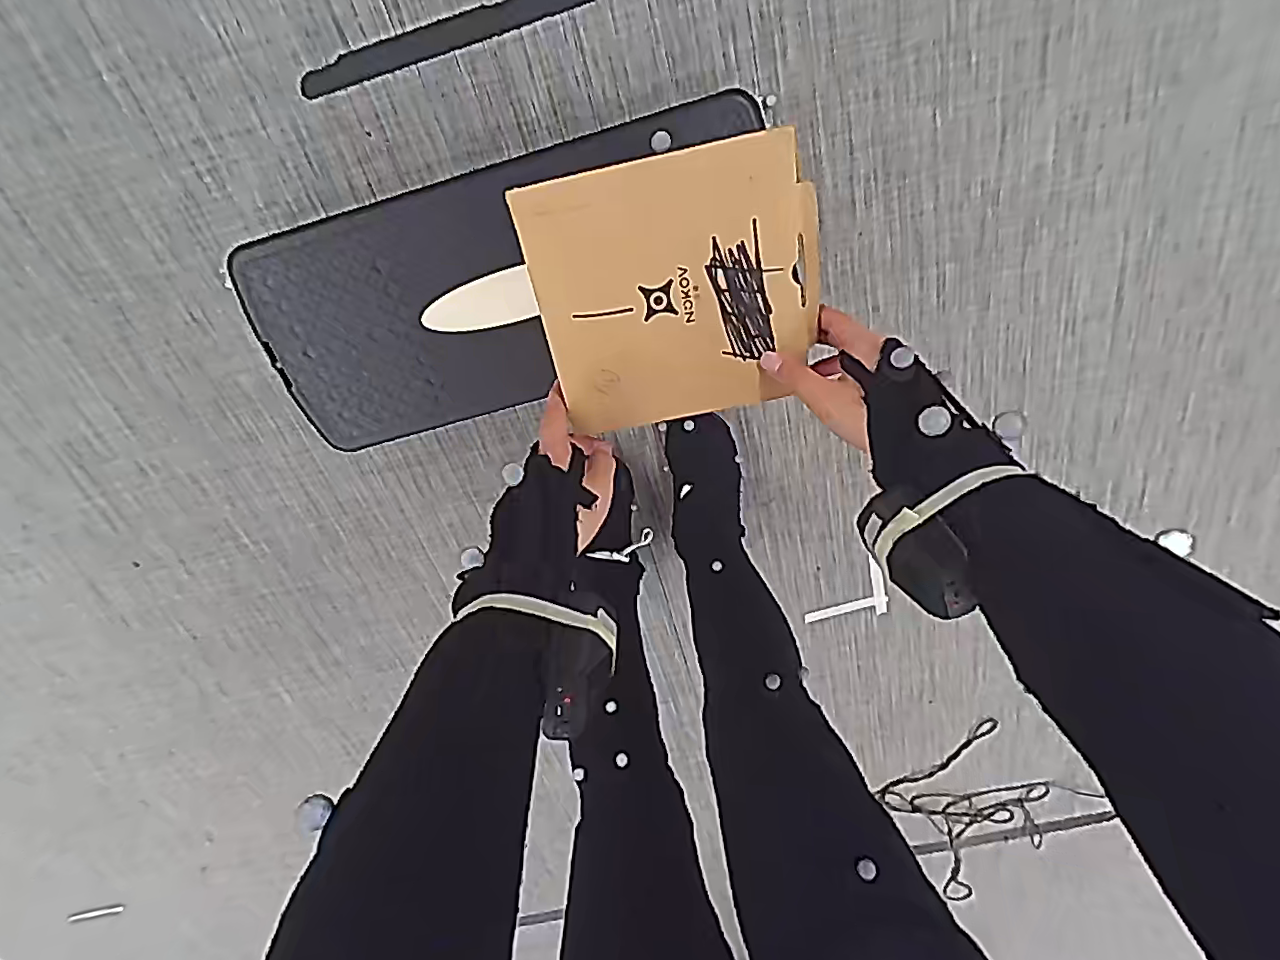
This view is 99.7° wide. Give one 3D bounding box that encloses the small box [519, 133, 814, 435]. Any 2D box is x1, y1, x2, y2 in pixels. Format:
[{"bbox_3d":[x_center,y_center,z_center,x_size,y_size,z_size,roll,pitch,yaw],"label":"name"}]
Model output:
[{"bbox_3d":[0.022,-0.155,0.424,0.179,0.176,0.168,-11,117,4],"label":"small box"}]
